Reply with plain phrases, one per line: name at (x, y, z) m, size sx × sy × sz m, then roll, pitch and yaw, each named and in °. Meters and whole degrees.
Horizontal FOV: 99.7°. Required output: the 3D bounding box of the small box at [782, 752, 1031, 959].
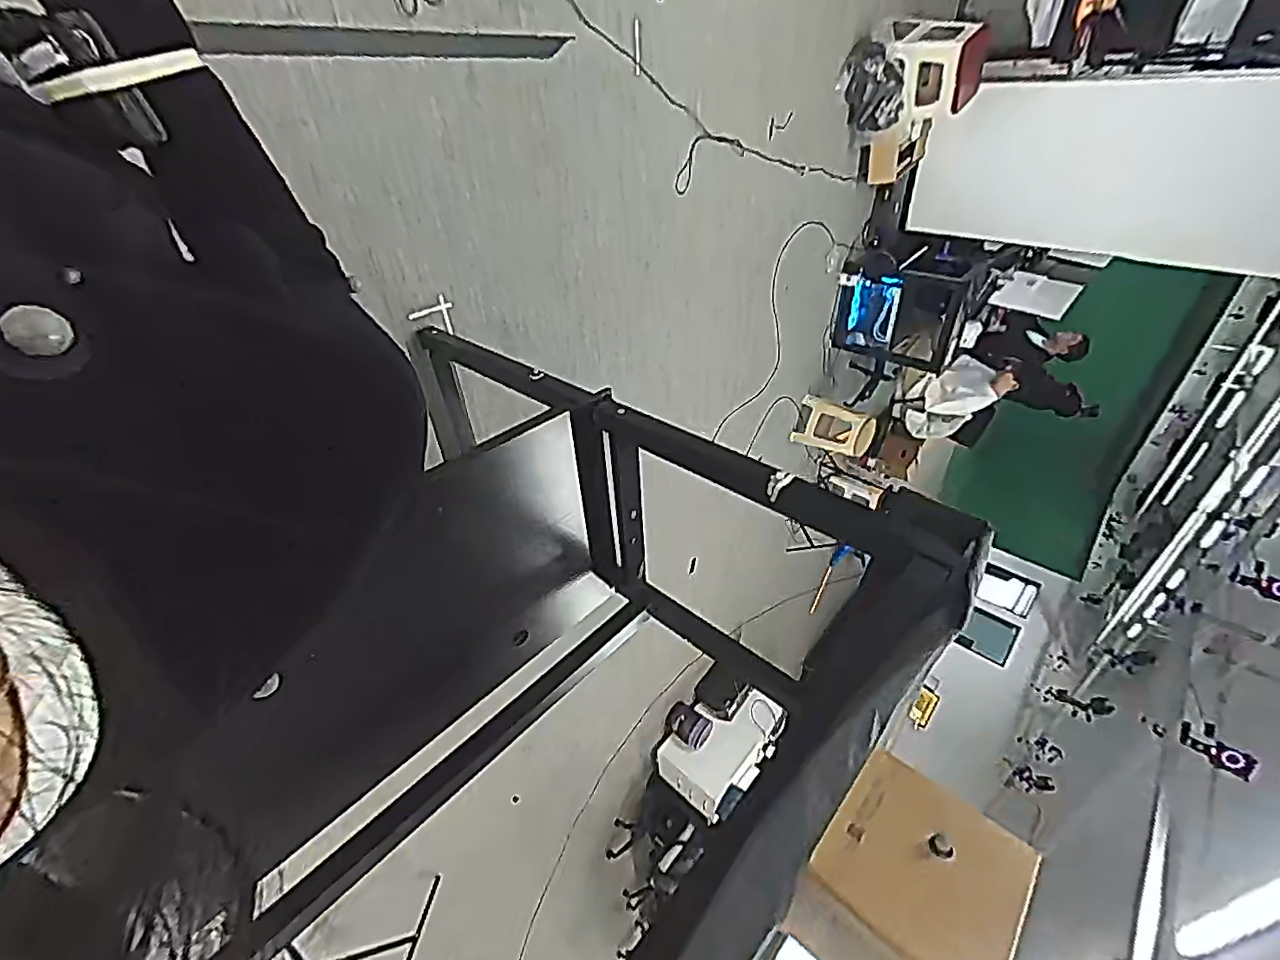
small box at (0.271, 0.430, 0.576) m, size 0.168 × 0.176 × 0.179 m, roll -32°, pitch 137°, yaw -37°
